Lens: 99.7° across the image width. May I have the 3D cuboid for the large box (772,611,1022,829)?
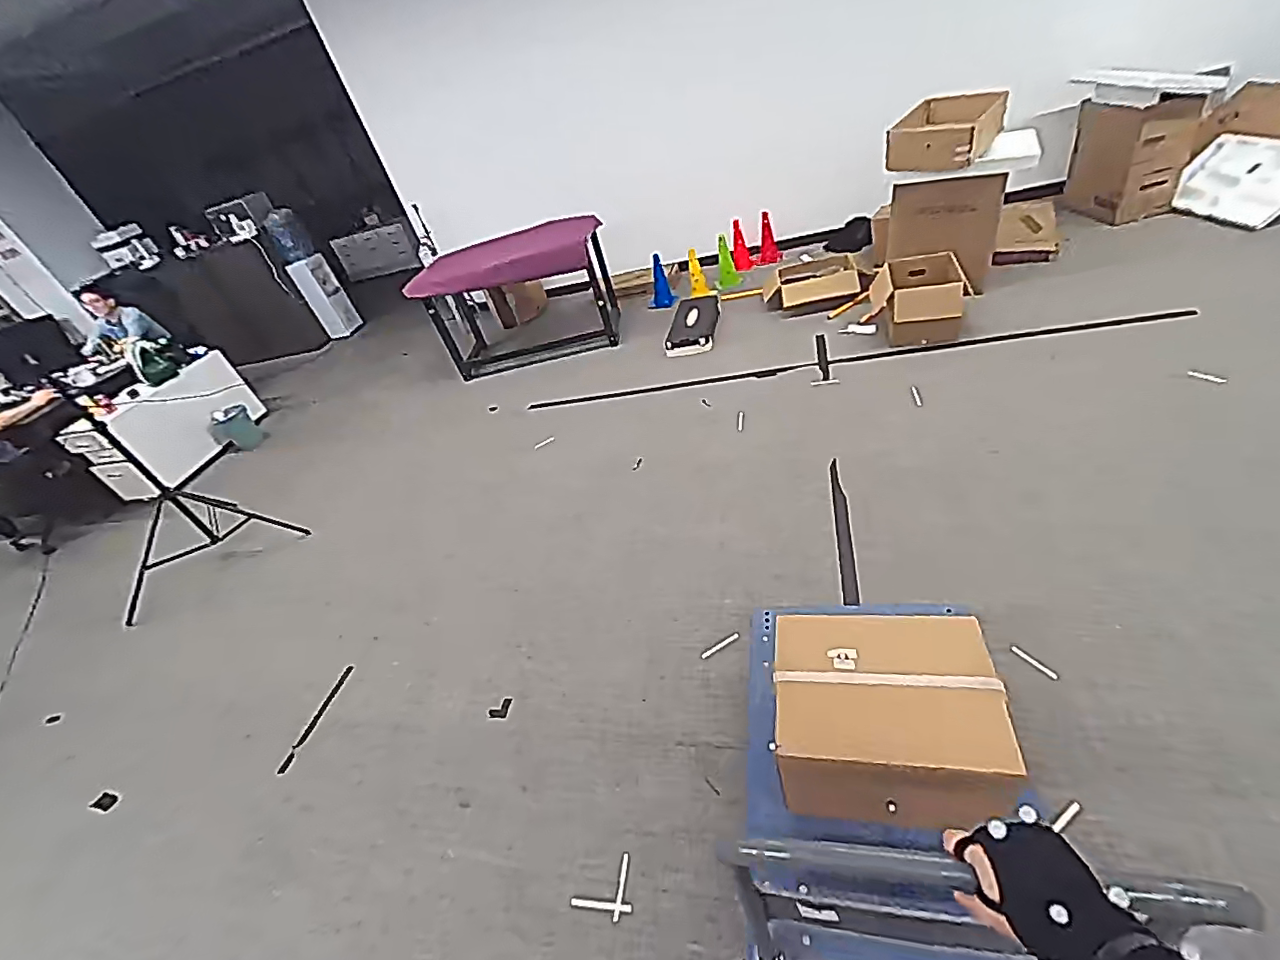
[{"bbox_3d":[0.503,0.498,1.138,0.408,0.320,0.320,-5,38,18],"label":"large box"}]
